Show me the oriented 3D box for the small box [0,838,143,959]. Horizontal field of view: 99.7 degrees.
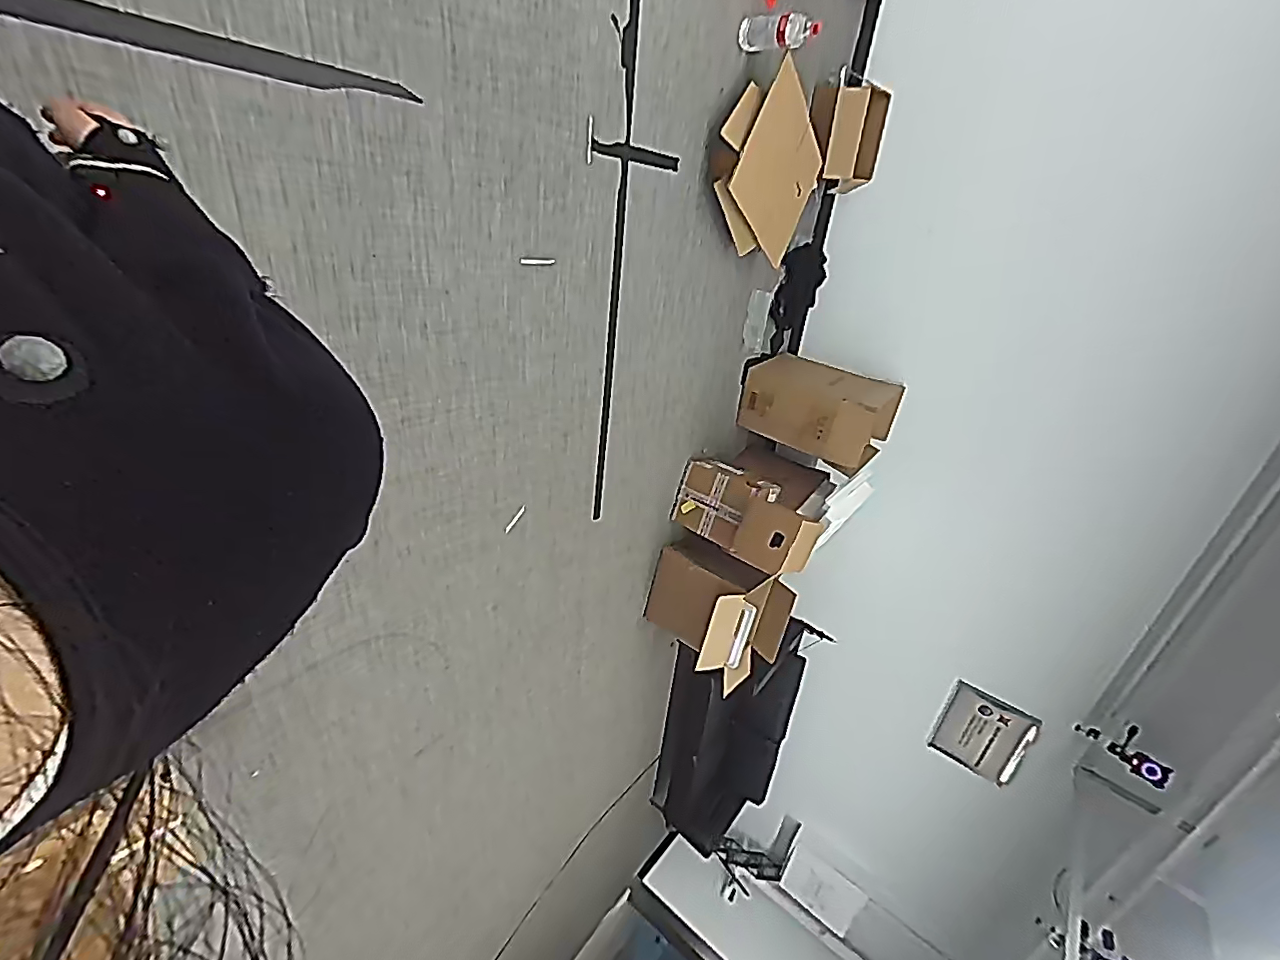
[{"bbox_3d":[-1.143,0.868,1.070,0.179,0.176,0.168,-26,129,-45],"label":"small box"}]
